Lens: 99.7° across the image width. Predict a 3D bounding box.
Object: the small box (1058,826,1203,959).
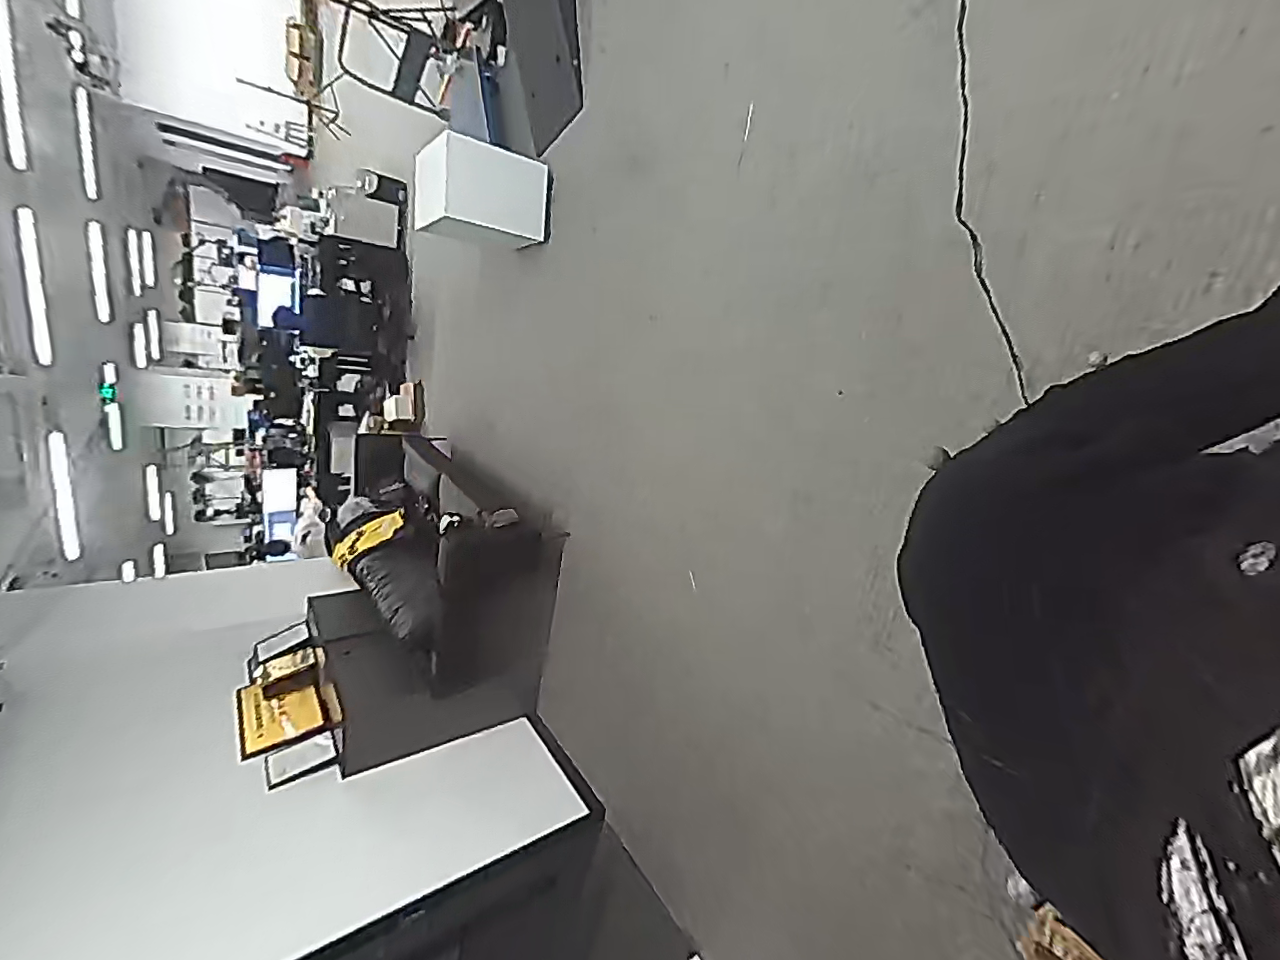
[{"bbox_3d":[1.025,0.875,1.128,0.168,0.176,0.179,31,116,48],"label":"small box"}]
